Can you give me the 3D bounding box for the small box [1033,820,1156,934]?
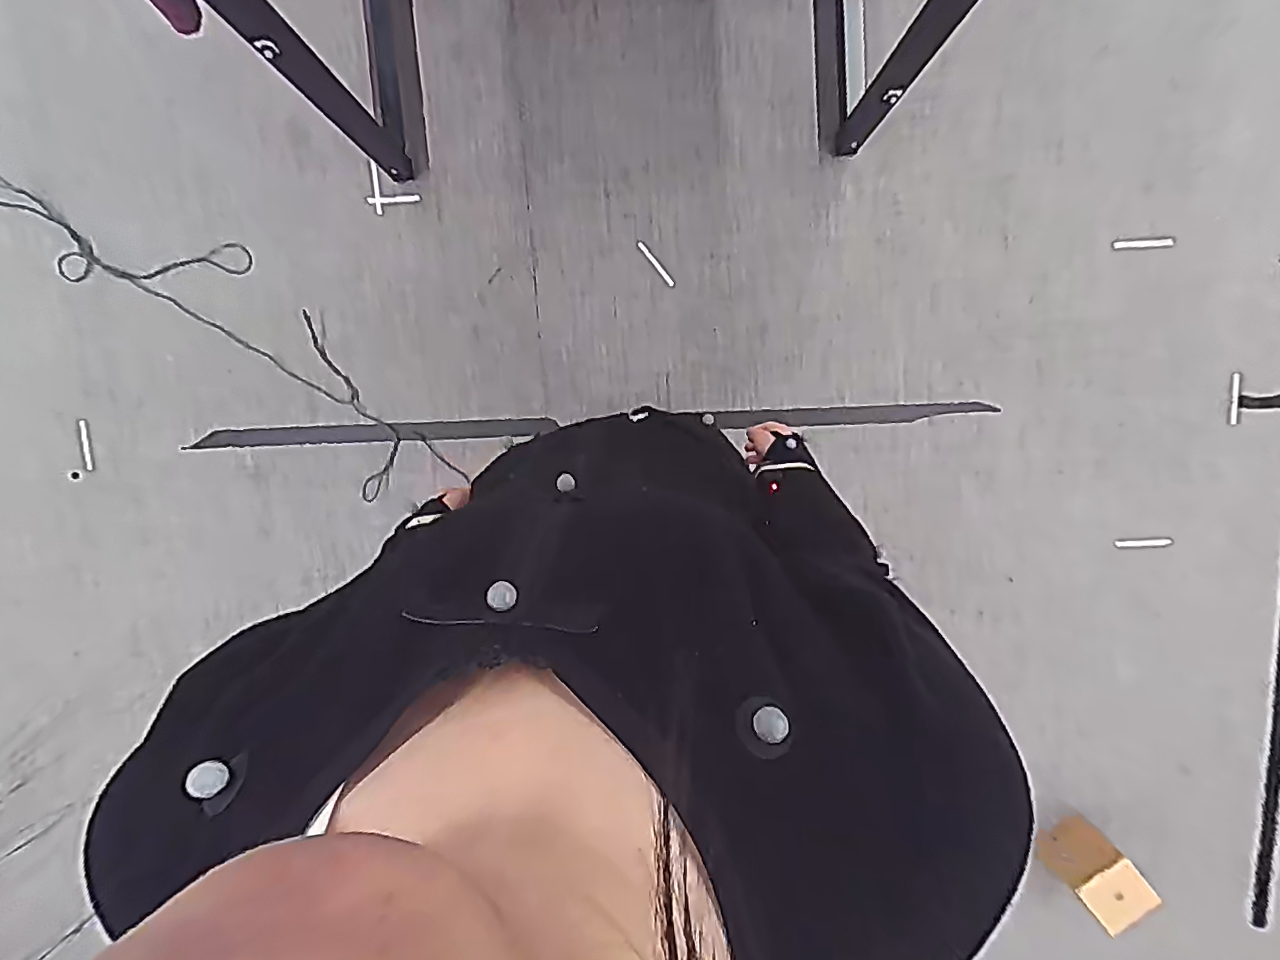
[{"bbox_3d":[1.283,1.116,1.541,0.168,0.176,0.179,-40,96,5],"label":"small box"}]
